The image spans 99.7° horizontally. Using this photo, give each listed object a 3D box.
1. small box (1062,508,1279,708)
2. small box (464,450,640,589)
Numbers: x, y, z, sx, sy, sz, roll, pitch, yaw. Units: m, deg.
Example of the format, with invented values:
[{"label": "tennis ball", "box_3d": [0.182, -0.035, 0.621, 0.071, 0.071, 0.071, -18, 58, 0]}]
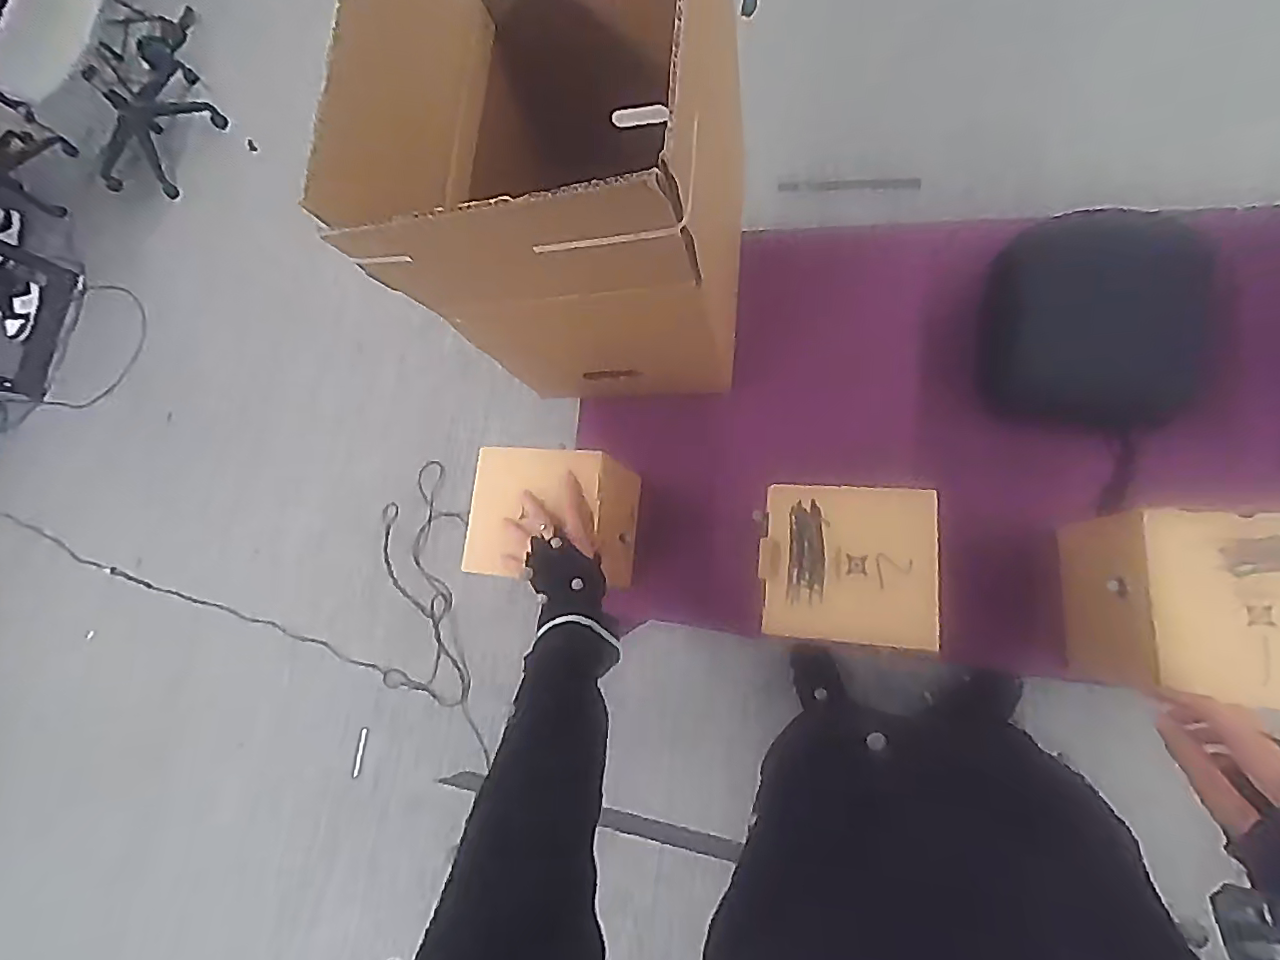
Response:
[{"label": "small box", "box_3d": [0.573, 0.127, 0.559, 0.168, 0.176, 0.179, -1, 80, 15]}, {"label": "small box", "box_3d": [-0.111, 0.060, 0.748, 0.179, 0.176, 0.168, 3, 80, 15]}]
